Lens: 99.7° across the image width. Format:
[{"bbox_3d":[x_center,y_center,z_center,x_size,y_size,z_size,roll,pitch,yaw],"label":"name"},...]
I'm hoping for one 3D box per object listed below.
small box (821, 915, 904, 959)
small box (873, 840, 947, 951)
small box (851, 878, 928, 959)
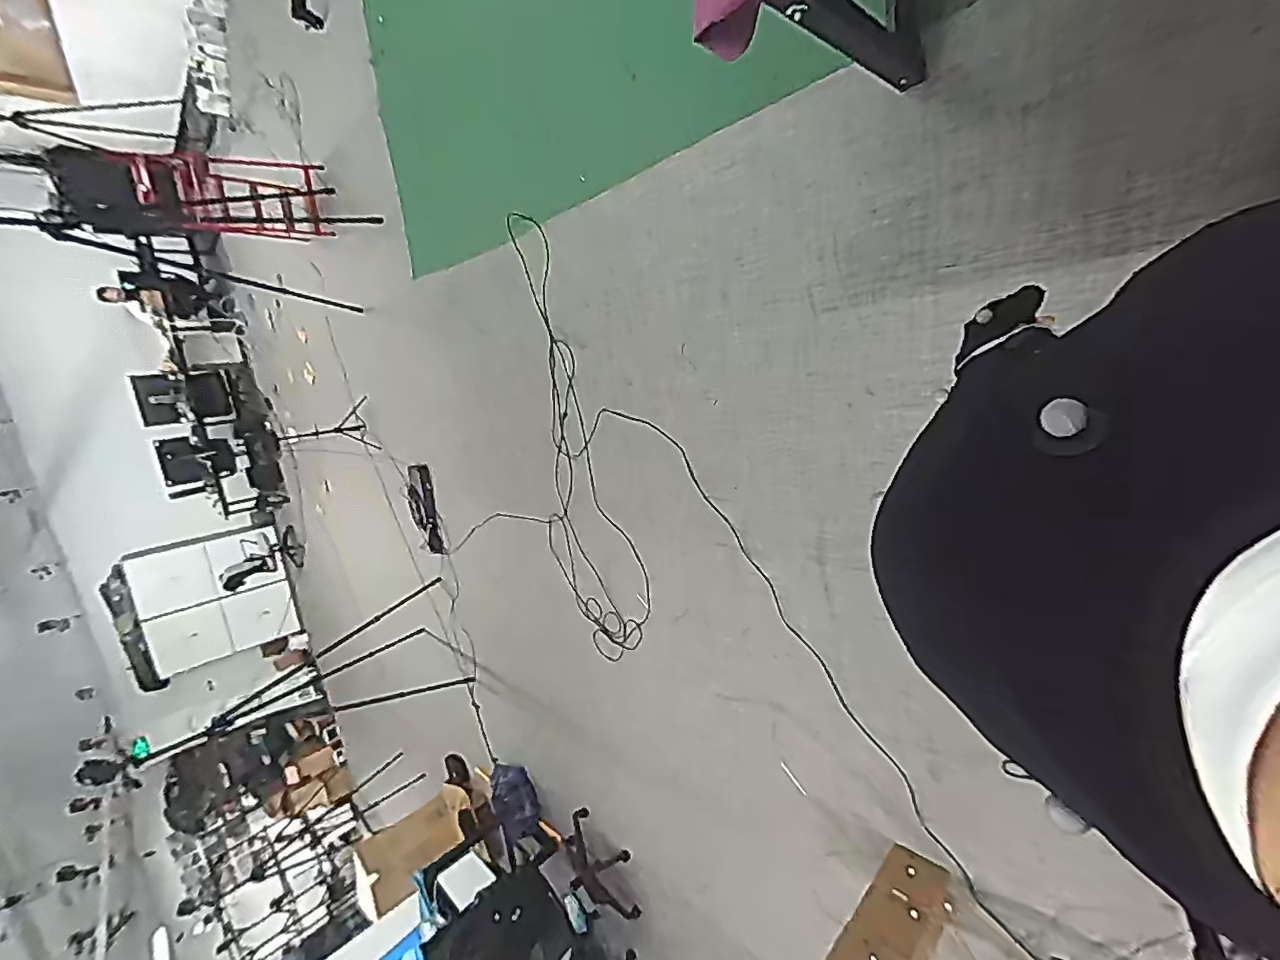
[{"bbox_3d":[0.600,1.352,1.462,0.168,0.176,0.179,14,112,43],"label":"small box"},{"bbox_3d":[0.836,1.272,1.673,0.168,0.176,0.179,7,107,45],"label":"small box"},{"bbox_3d":[0.720,1.317,1.566,0.168,0.176,0.179,7,109,45],"label":"small box"}]
